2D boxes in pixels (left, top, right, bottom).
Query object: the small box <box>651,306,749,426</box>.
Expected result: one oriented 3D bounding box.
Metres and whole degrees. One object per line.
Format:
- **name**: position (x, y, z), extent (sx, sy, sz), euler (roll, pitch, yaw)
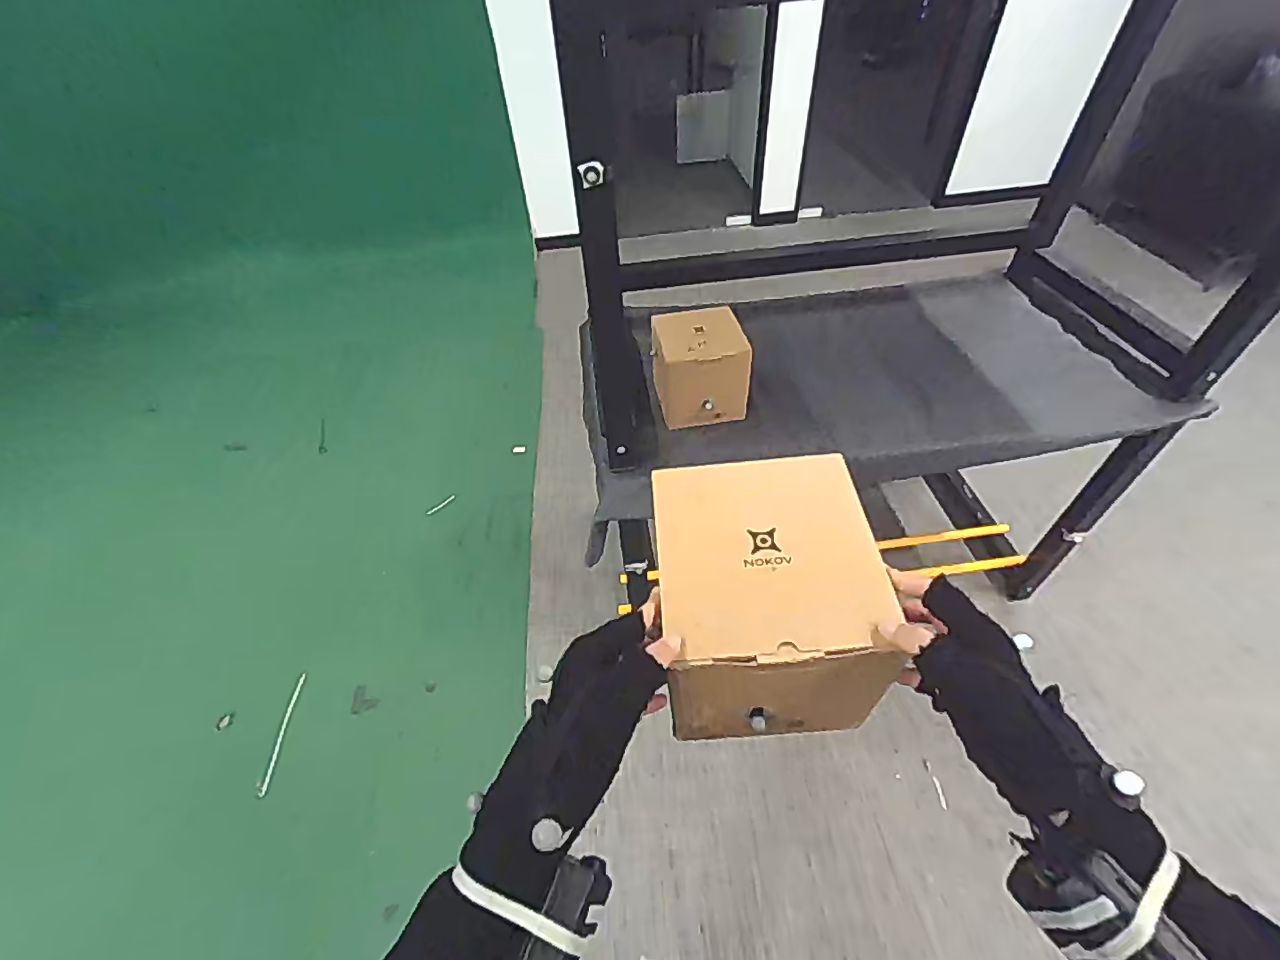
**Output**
- **small box**: position (0.117, -0.235, 1.116), extent (0.168, 0.176, 0.179), euler (-9, 47, -3)
